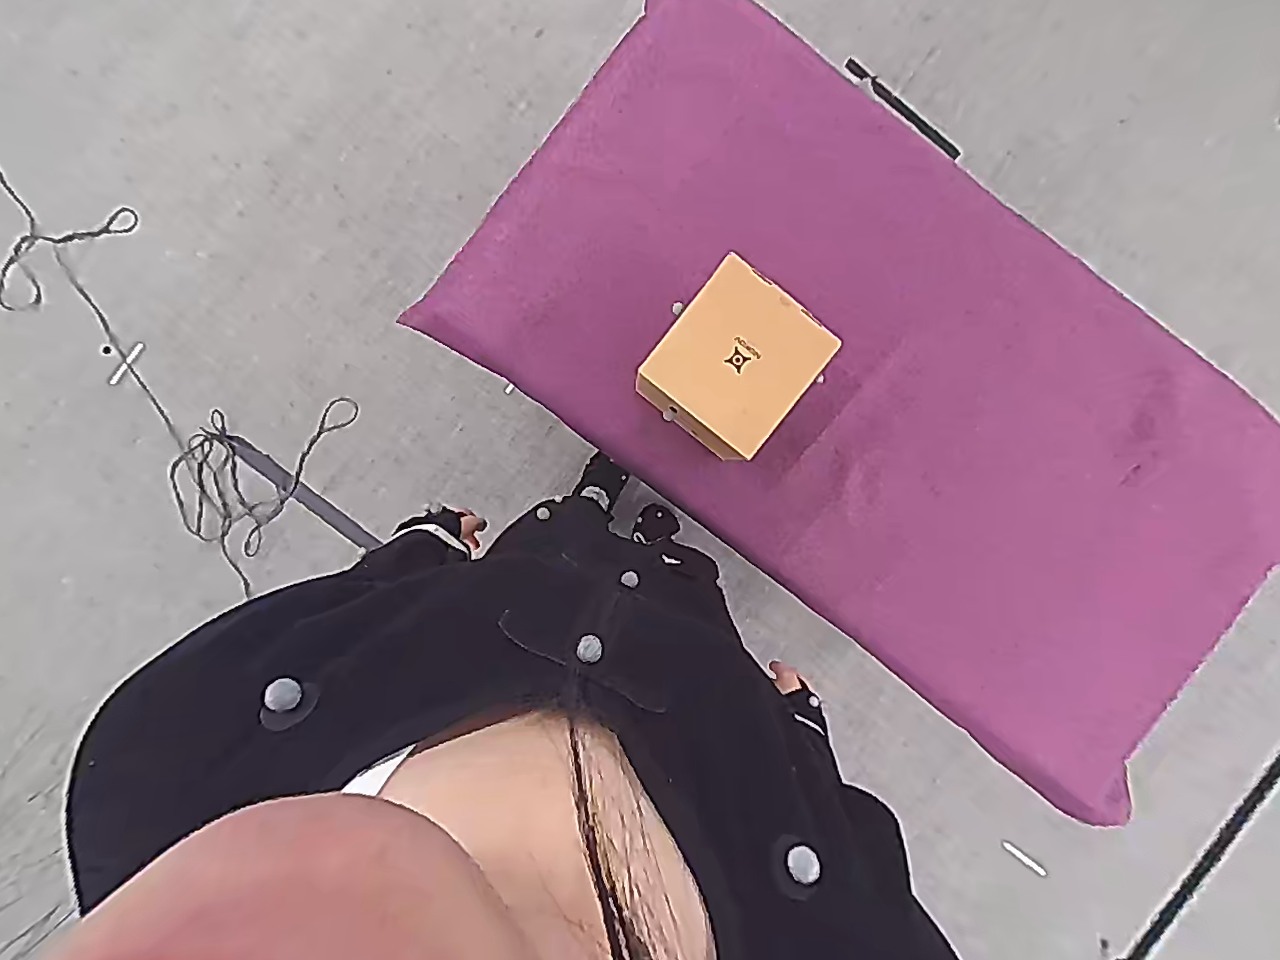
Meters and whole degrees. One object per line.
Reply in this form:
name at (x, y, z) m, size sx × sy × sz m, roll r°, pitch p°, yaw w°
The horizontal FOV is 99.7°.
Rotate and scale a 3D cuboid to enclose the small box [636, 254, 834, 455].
small box at (0.110, -0.145, 0.703) m, size 0.168 × 0.176 × 0.179 m, roll 38°, pitch 89°, yaw -2°
